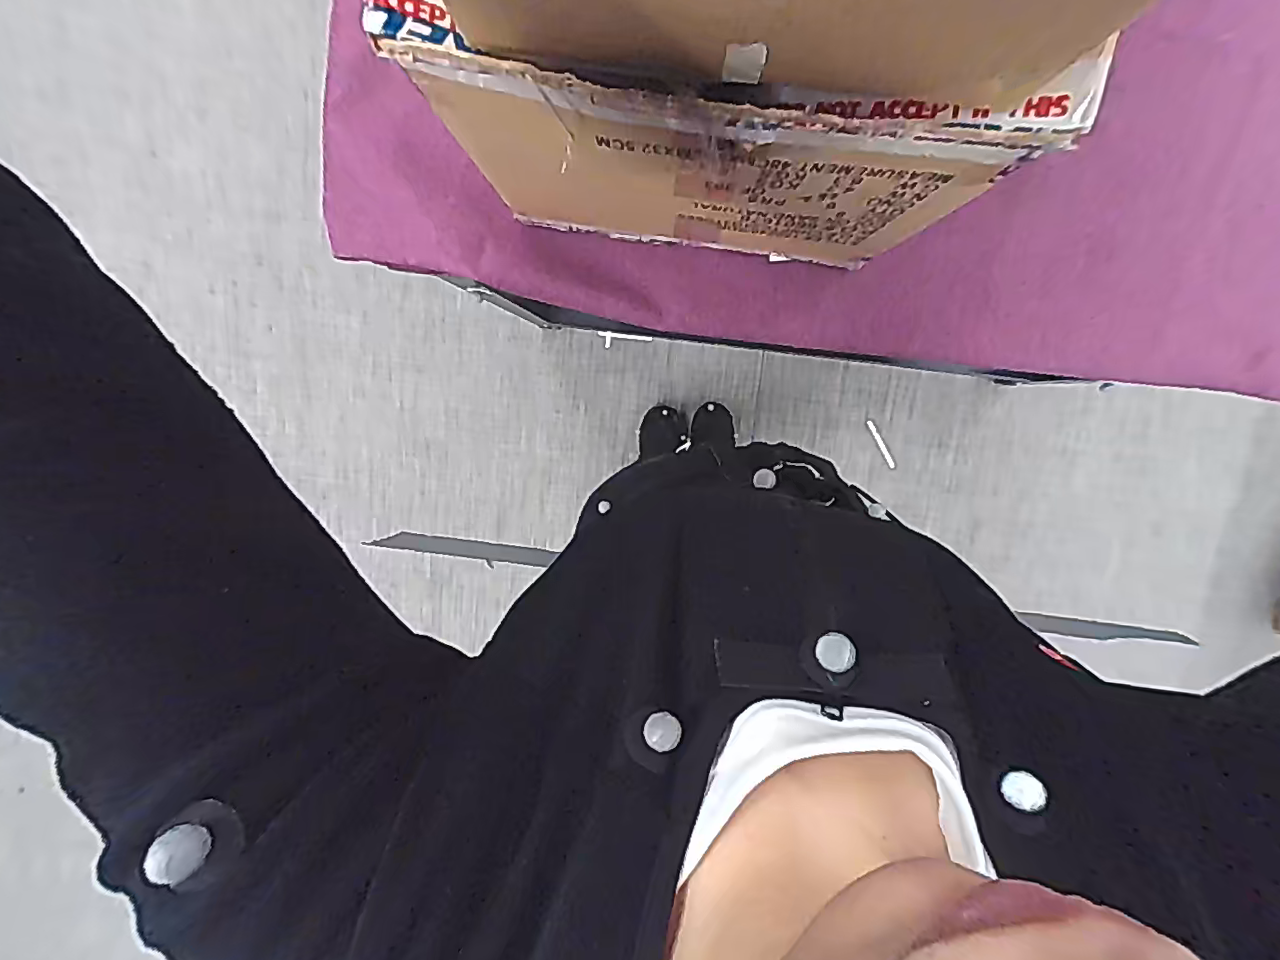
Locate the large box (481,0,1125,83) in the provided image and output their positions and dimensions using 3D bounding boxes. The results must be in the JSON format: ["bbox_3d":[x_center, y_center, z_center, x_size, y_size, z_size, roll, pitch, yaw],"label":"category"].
[{"bbox_3d":[0.080,-0.401,0.119,0.320,0.320,0.408,7,100,2],"label":"large box"}]
